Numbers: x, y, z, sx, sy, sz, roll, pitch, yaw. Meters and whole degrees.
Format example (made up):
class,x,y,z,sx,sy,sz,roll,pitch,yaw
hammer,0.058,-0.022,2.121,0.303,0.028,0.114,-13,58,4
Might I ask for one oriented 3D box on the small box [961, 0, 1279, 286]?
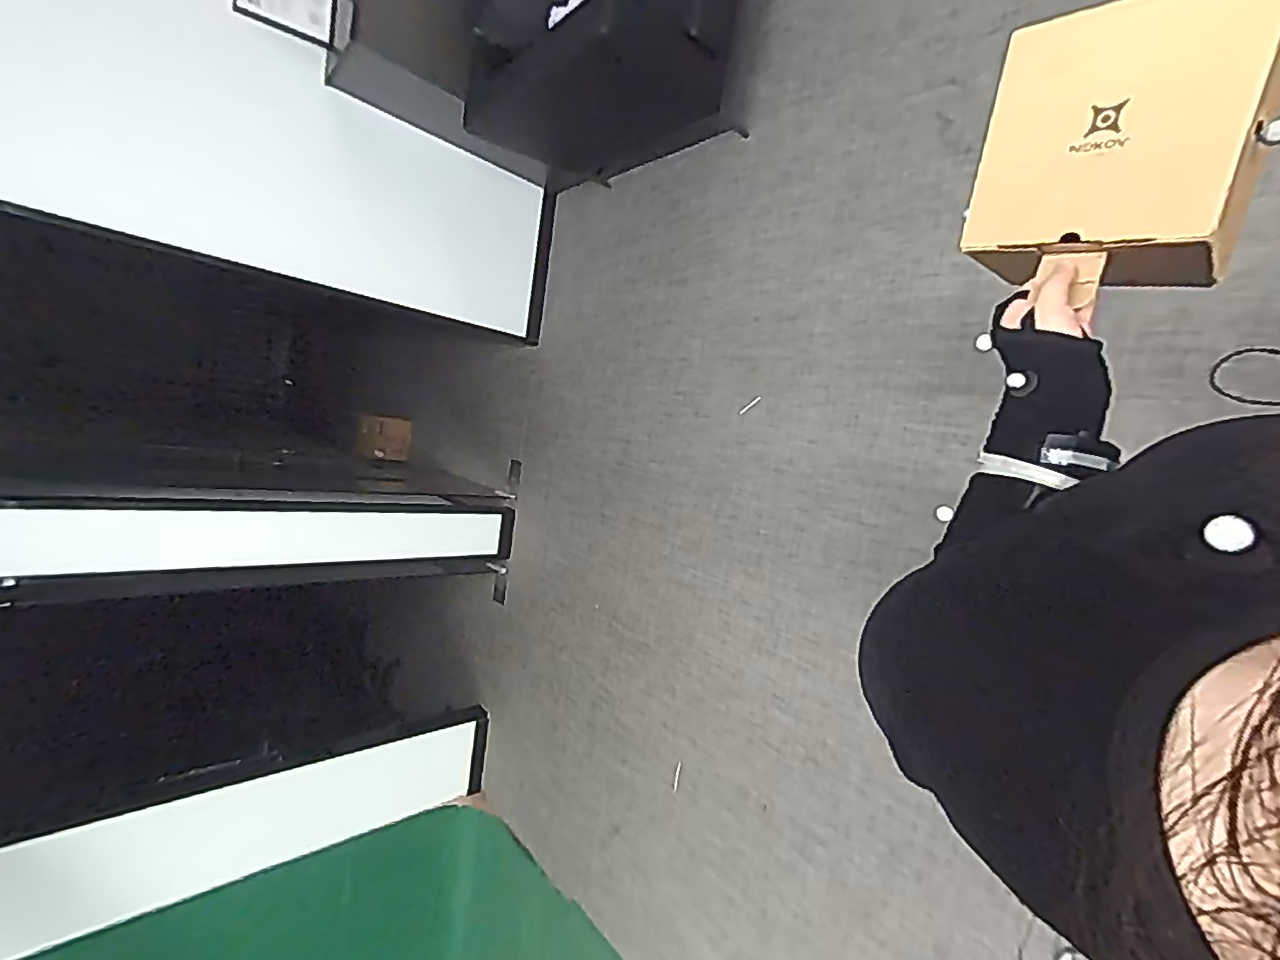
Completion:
class,x,y,z,sx,sy,sz,roll,pitch,yaw
small box,0.416,-0.277,0.472,0.168,0.176,0.179,21,110,44
